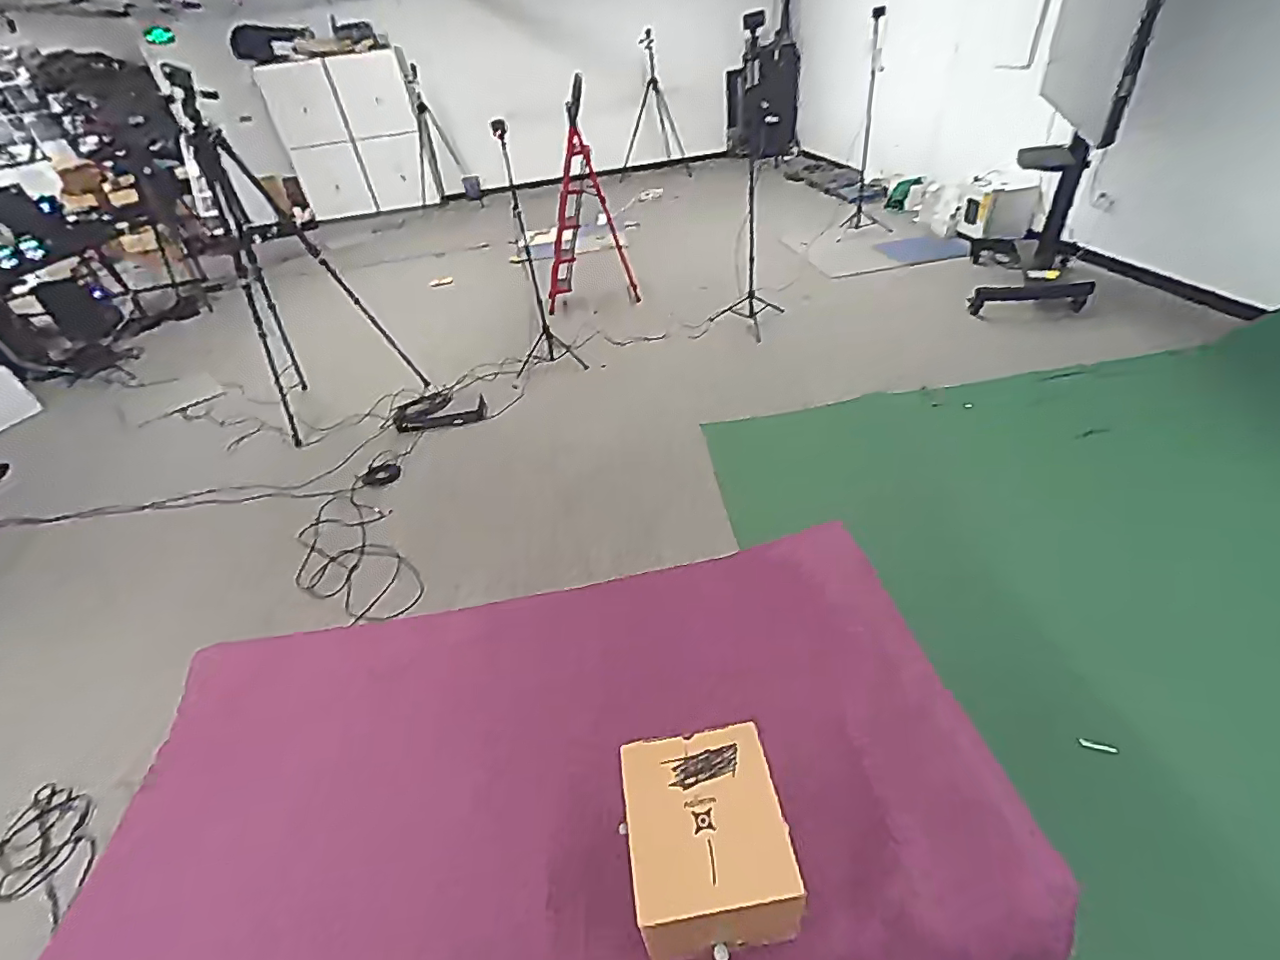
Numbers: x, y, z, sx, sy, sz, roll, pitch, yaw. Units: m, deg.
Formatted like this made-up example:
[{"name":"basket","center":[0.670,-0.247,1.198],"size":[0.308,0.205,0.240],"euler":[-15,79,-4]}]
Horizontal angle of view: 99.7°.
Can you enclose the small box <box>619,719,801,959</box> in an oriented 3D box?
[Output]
[{"name":"small box","center":[0.071,0.411,0.622],"size":[0.168,0.176,0.179],"euler":[-10,39,-1]}]
